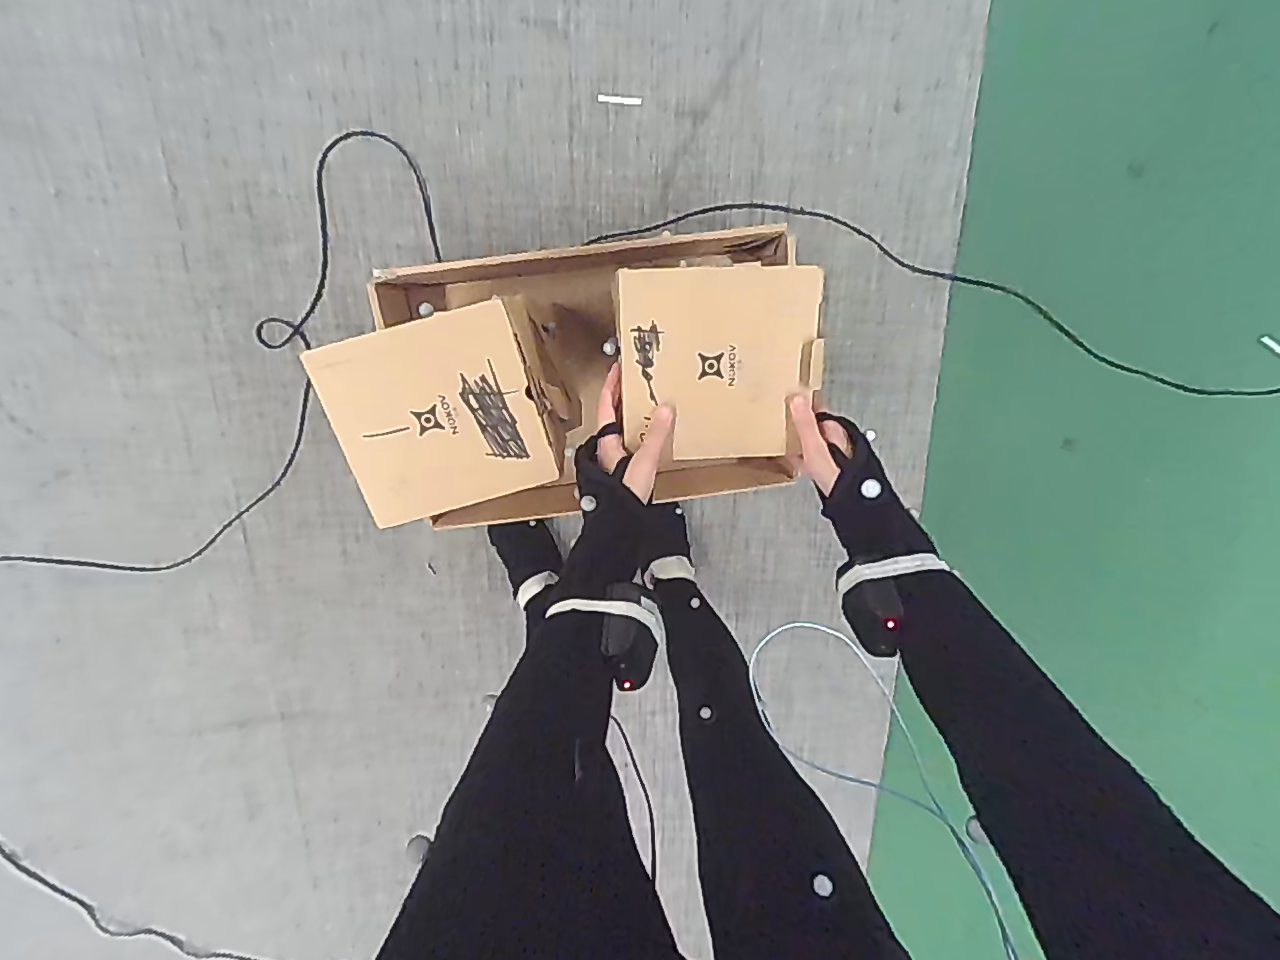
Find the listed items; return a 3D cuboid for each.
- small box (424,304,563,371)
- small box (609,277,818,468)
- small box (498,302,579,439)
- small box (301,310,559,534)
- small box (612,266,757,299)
[{"bbox_3d":[-0.215,-0.182,0.853,0.179,0.176,0.168,-7,107,-5],"label":"small box"},{"bbox_3d":[0.060,-0.114,0.549,0.179,0.176,0.168,-2,106,-3],"label":"small box"},{"bbox_3d":[-0.190,-0.122,0.703,0.179,0.176,0.168,-23,108,2],"label":"small box"},{"bbox_3d":[-0.186,-0.070,0.547,0.179,0.176,0.168,-16,107,0],"label":"small box"},{"bbox_3d":[0.051,-0.173,0.703,0.168,0.176,0.179,-5,107,-1],"label":"small box"}]
